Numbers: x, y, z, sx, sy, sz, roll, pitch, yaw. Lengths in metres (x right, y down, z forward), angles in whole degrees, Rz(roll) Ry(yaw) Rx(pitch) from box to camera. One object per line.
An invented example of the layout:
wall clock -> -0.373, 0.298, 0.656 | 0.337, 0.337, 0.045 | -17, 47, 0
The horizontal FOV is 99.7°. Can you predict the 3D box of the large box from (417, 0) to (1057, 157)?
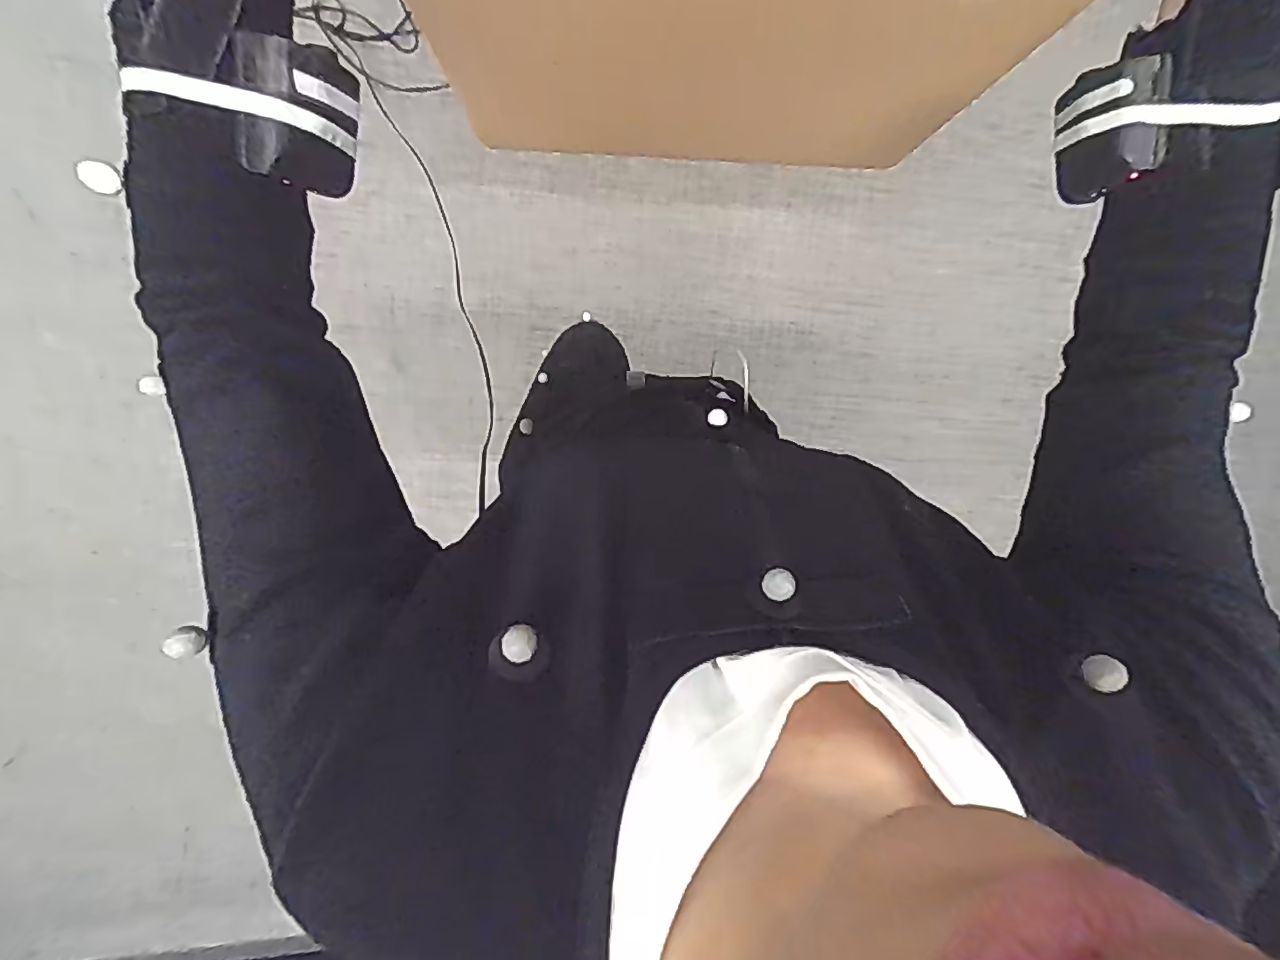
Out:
large box -> 0.056, -0.446, 0.358 | 0.408, 0.320, 0.320 | 0, 99, -3
